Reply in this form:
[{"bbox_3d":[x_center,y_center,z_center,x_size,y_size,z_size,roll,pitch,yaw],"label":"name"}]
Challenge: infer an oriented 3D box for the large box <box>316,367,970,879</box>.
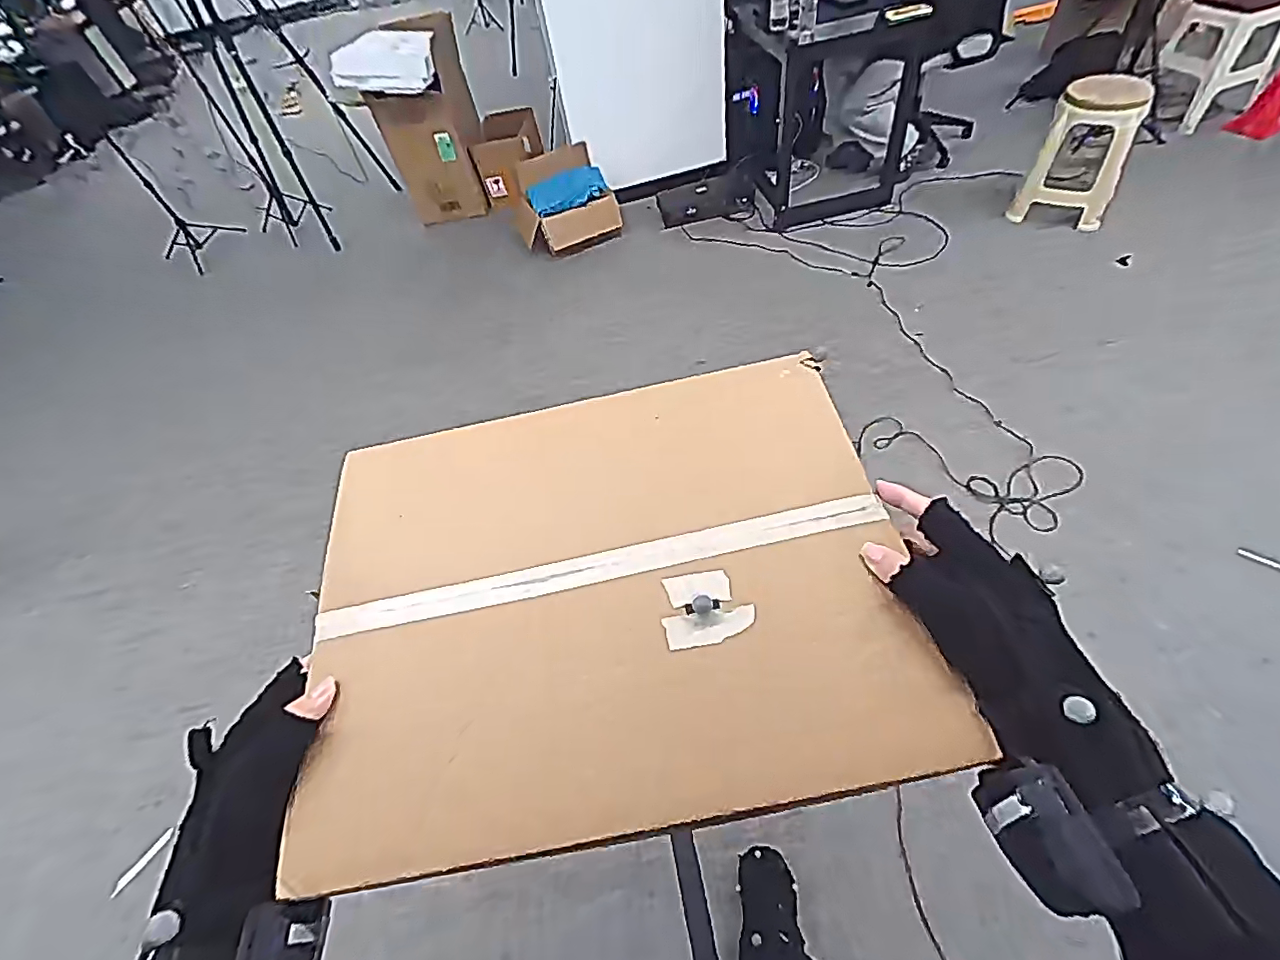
[{"bbox_3d":[-0.006,0.147,0.520,0.408,0.320,0.320,-12,57,1],"label":"large box"}]
